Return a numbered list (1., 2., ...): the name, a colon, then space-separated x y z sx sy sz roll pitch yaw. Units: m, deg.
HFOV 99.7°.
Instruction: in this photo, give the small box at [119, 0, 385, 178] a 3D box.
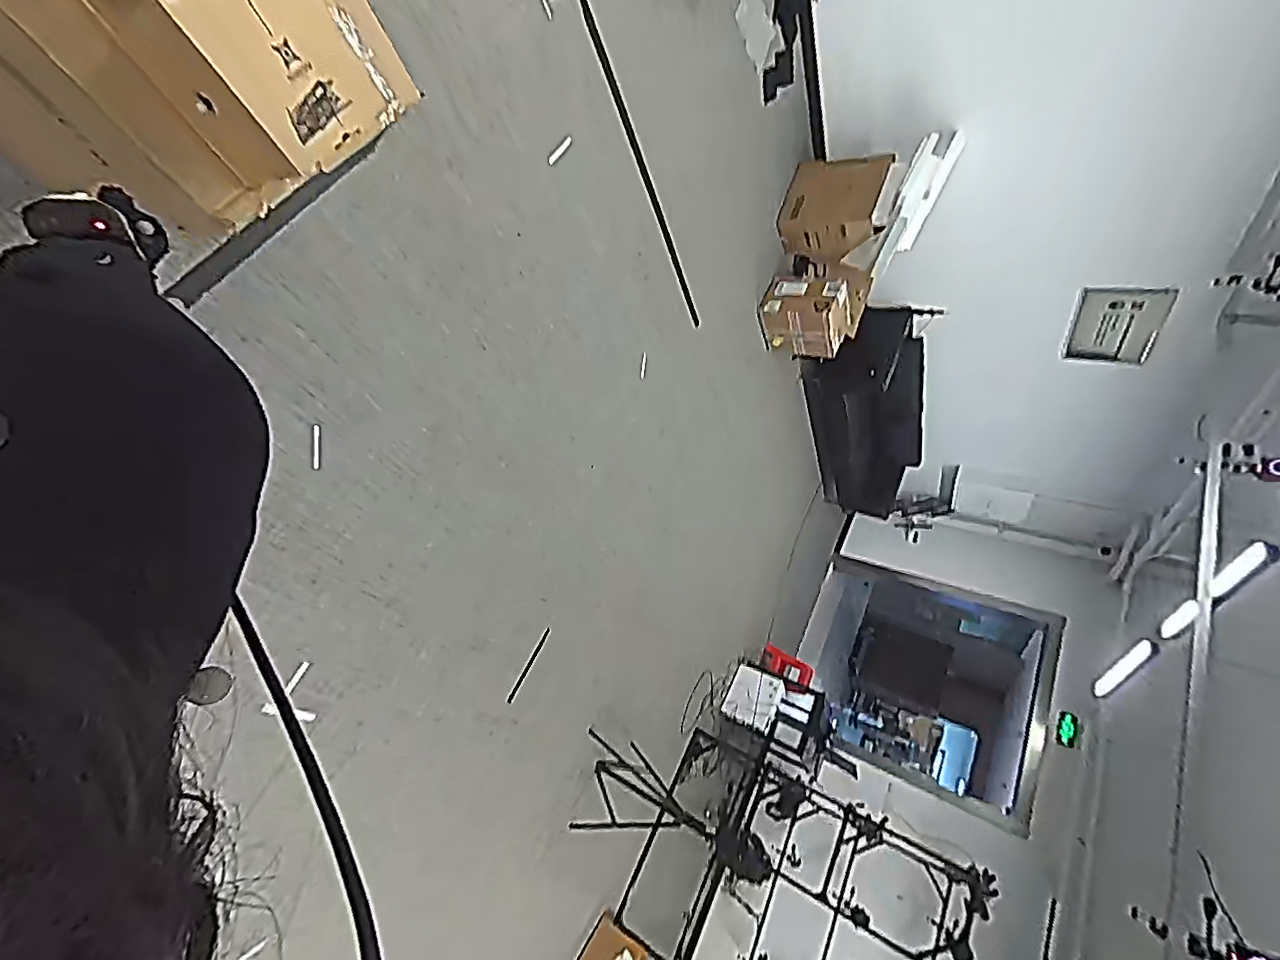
1. small box: -0.468 -0.498 0.665 0.168 0.176 0.179 -59 143 -24
